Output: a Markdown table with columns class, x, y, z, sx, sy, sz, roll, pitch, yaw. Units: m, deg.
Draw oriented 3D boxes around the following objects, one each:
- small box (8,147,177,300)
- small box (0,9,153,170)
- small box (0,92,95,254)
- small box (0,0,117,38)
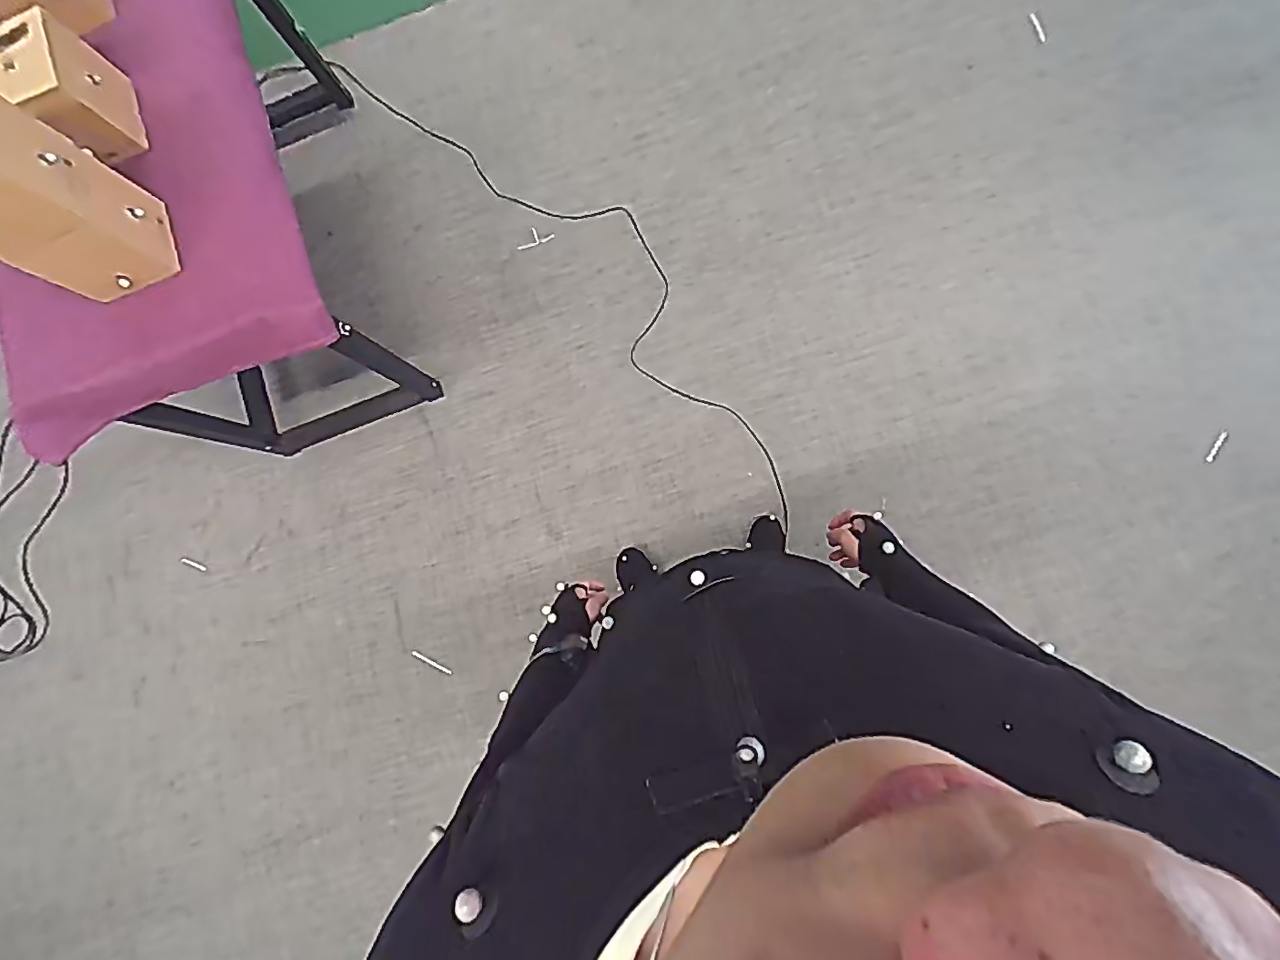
| class | x | y | z | sx | sy | sz | roll | pitch | yaw |
| --- | --- | --- | --- | --- | --- | --- | --- | --- | --- |
| small box | -1.020 | -0.469 | 1.014 | 0.179 | 0.176 | 0.168 | -20 | 81 | 2 |
| small box | -1.114 | -0.742 | 1.053 | 0.168 | 0.176 | 0.179 | -20 | 83 | 3 |
| small box | -1.034 | -0.490 | 0.851 | 0.179 | 0.176 | 0.168 | -20 | 83 | 2 |
| small box | -1.220 | -1.041 | 1.098 | 0.179 | 0.176 | 0.168 | -19 | 82 | 3 |
